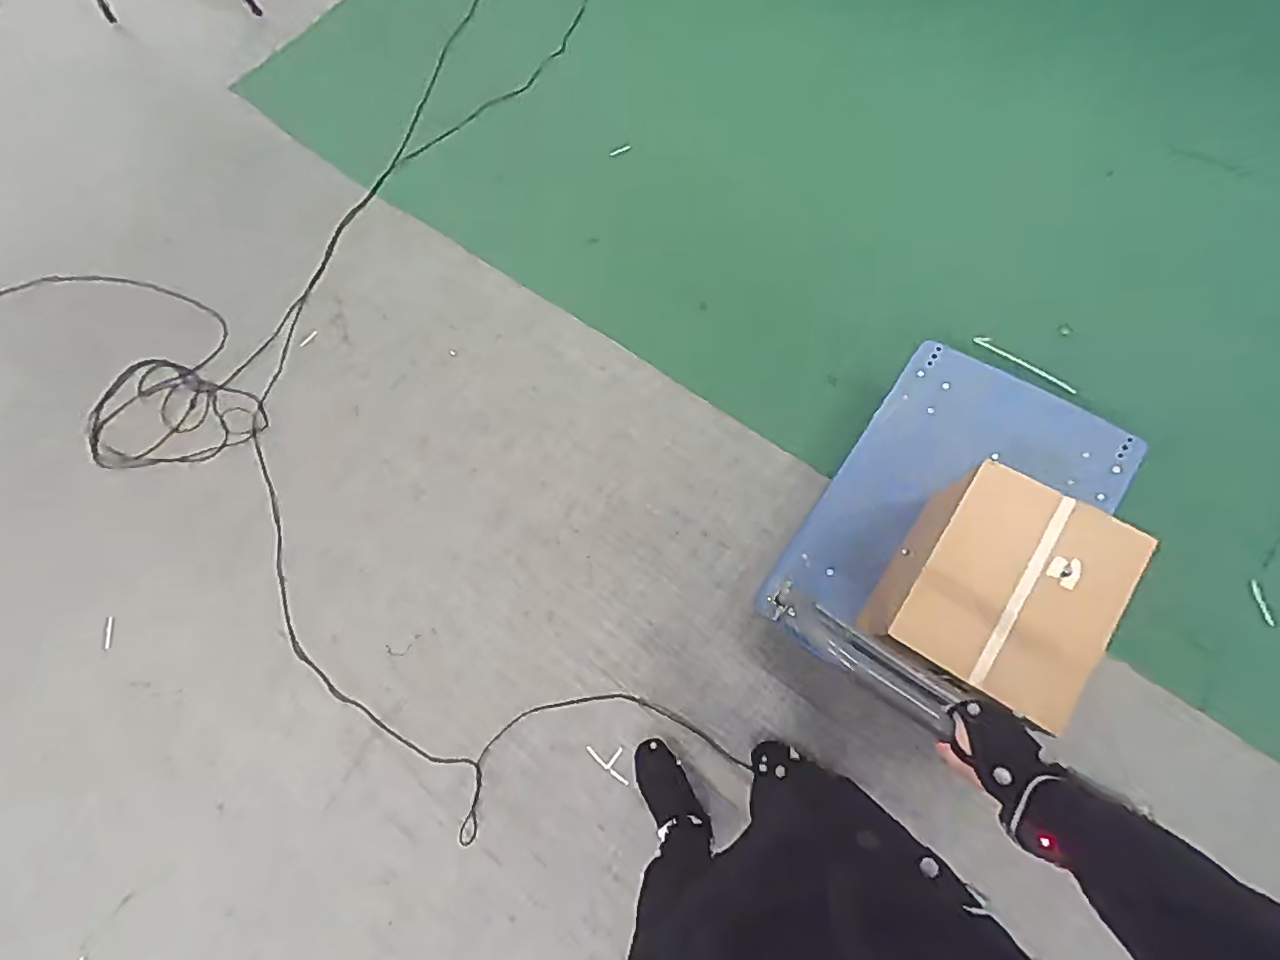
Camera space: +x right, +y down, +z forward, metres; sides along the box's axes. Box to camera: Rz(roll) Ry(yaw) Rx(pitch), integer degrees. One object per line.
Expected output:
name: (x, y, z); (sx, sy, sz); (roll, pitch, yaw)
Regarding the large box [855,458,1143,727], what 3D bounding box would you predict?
large box: (0.713, 0.234, 1.139); (0.320, 0.320, 0.408); (31, 81, 15)
